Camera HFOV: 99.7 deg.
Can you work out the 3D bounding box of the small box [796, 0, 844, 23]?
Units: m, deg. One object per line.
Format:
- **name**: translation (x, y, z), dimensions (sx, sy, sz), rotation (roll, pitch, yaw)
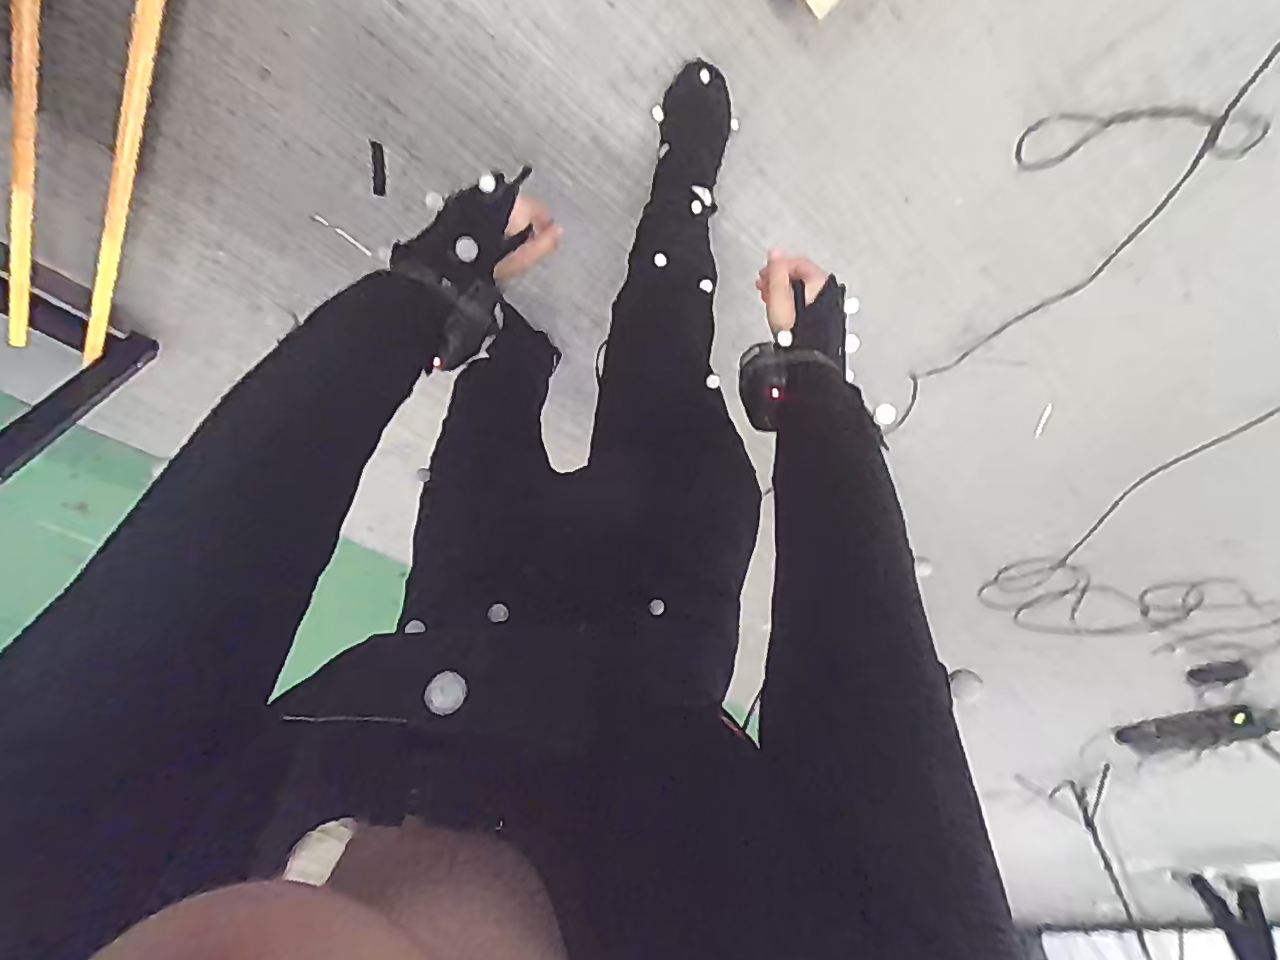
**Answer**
- **small box**: translation (0.215, -0.688, 0.619), dimensions (0.179, 0.176, 0.168), rotation (35, 127, -29)
